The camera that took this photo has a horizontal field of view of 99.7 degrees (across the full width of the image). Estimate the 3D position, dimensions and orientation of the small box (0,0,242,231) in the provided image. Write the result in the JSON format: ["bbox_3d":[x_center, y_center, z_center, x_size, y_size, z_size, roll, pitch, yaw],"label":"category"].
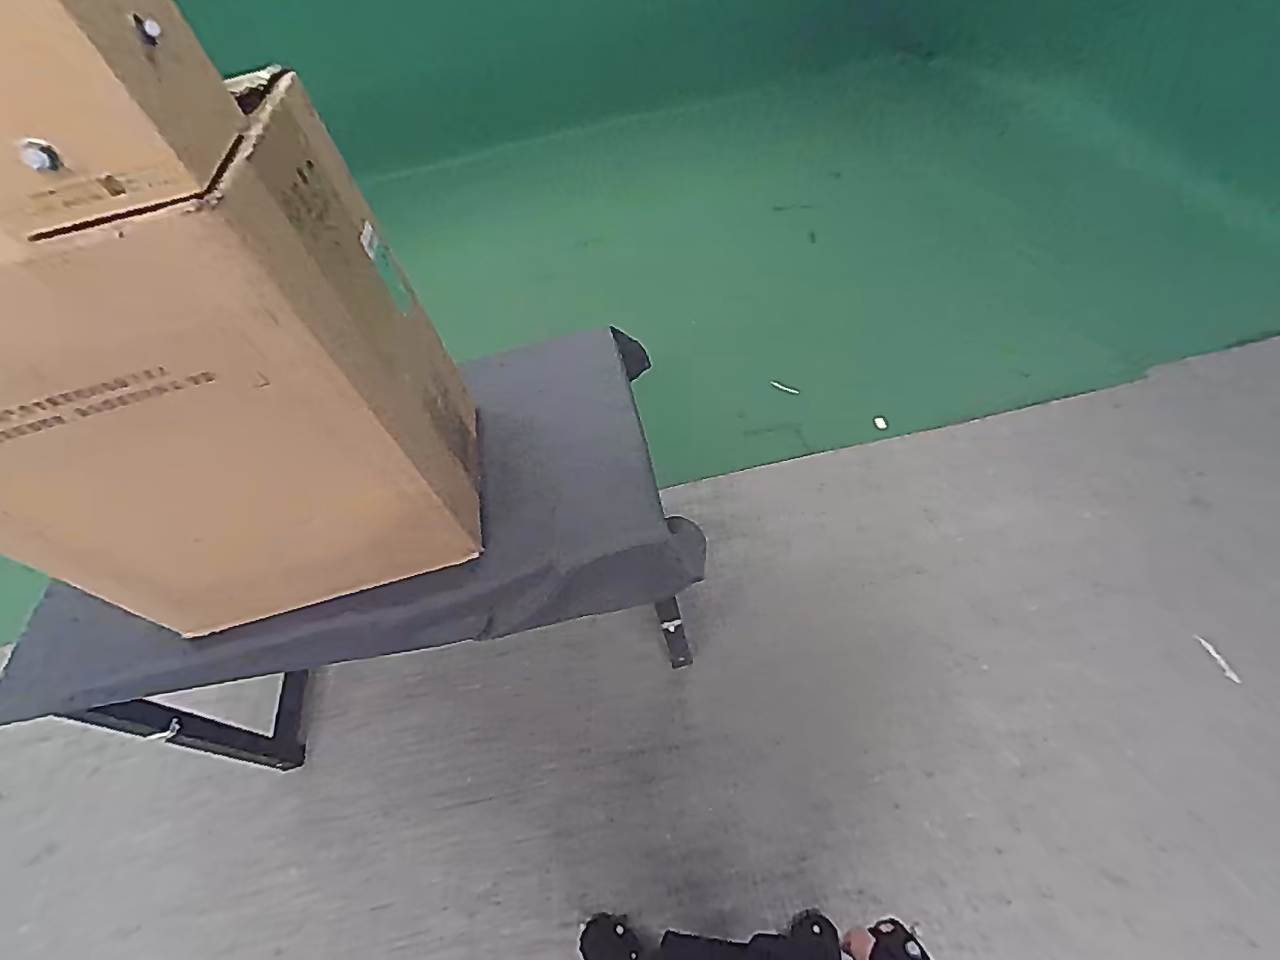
[{"bbox_3d":[-0.475,-0.337,0.443,0.168,0.176,0.179,-15,54,-1],"label":"small box"}]
